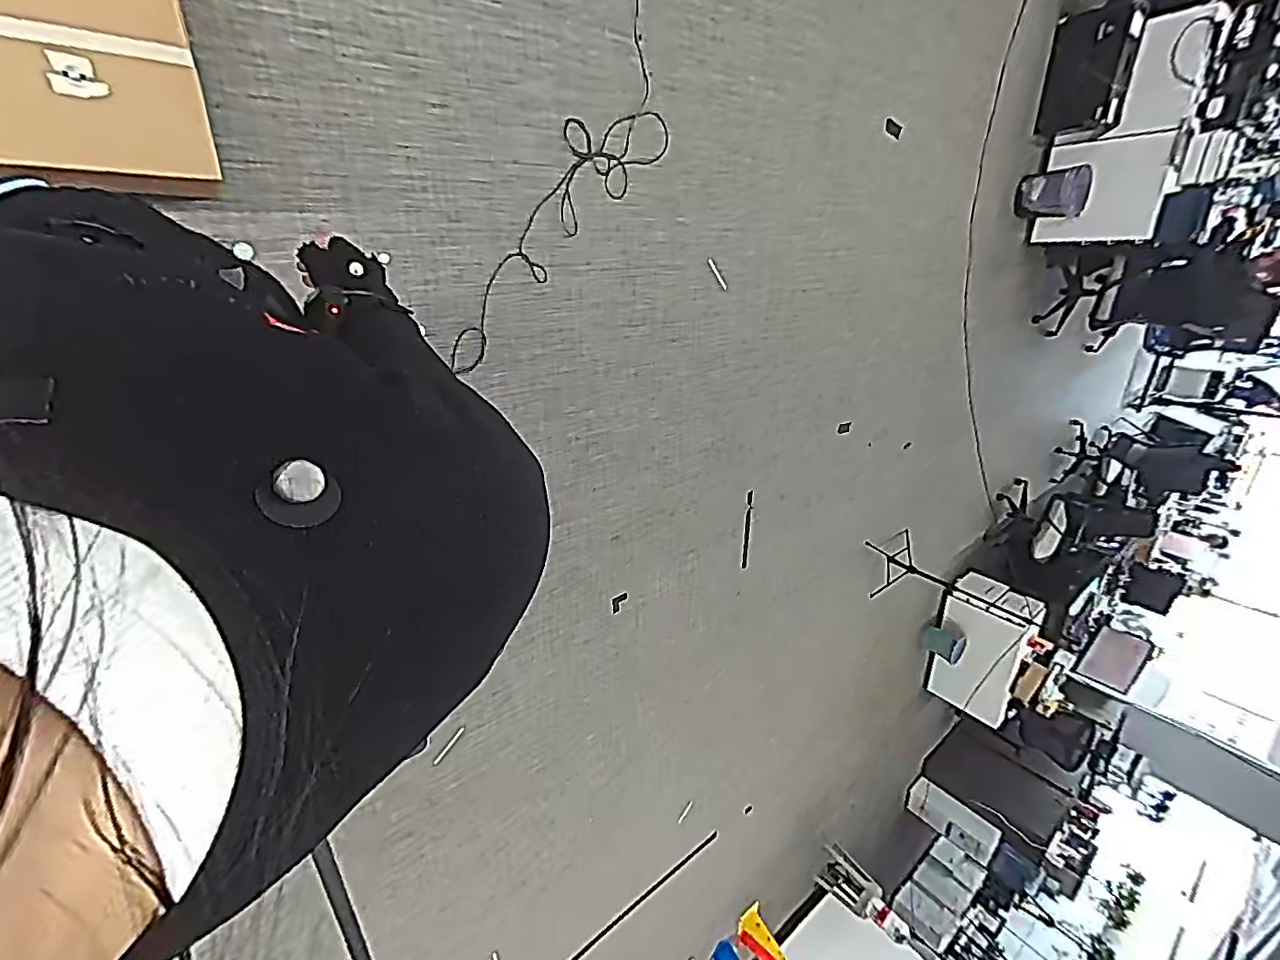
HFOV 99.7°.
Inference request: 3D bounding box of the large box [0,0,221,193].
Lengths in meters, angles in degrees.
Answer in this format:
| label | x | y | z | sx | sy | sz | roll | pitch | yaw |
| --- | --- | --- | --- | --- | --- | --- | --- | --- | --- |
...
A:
| label | x | y | z | sx | sy | sz | roll | pitch | yaw |
| --- | --- | --- | --- | --- | --- | --- | --- | --- | --- |
| large box | -0.906 | -0.615 | 0.786 | 0.408 | 0.320 | 0.320 | -17 | 118 | -36 |
